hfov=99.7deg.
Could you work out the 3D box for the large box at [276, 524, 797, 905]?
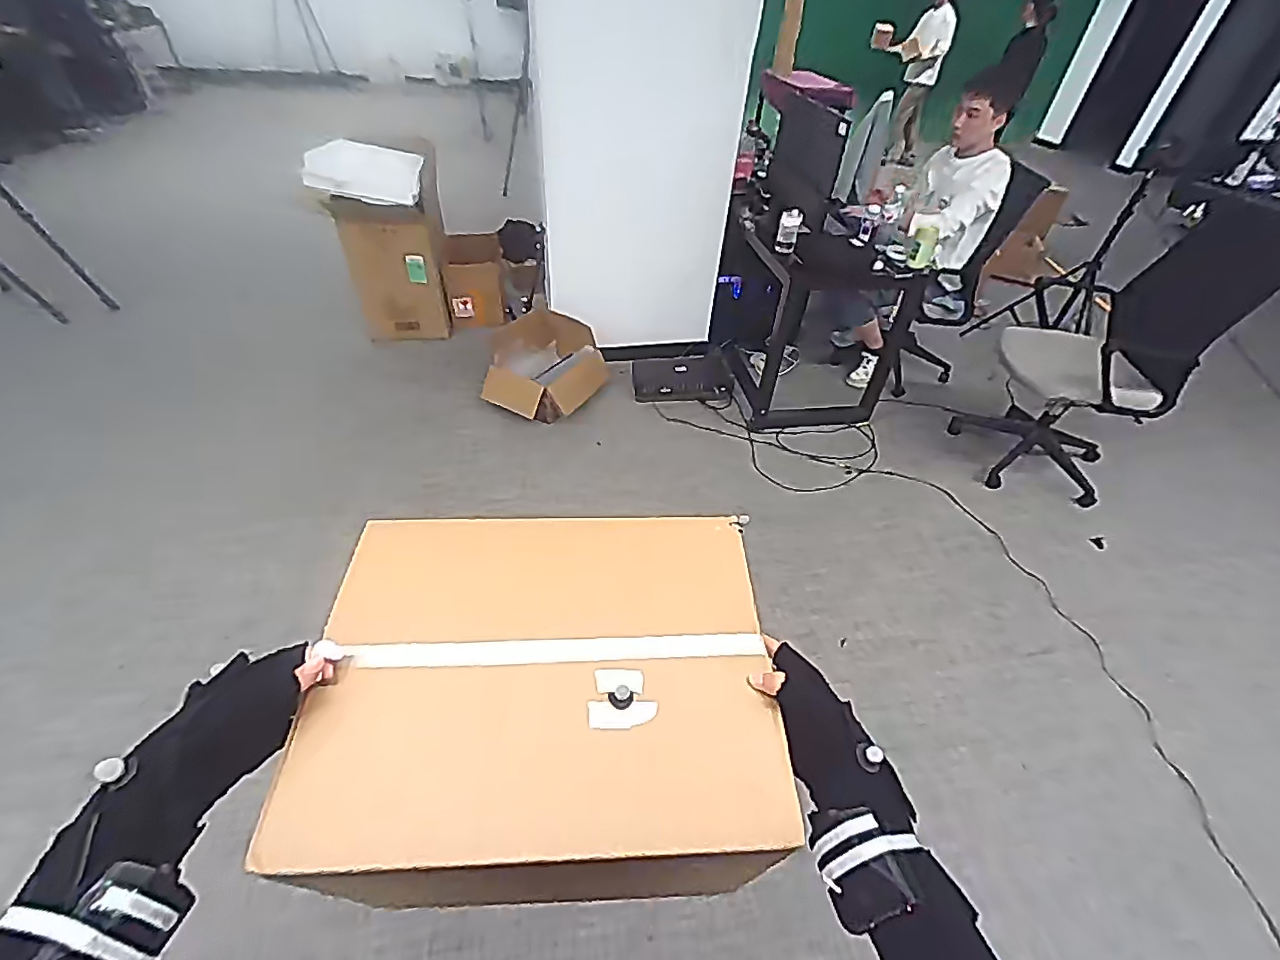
[{"bbox_3d":[-0.089,0.265,0.619,0.408,0.320,0.320,0,48,-4],"label":"large box"}]
